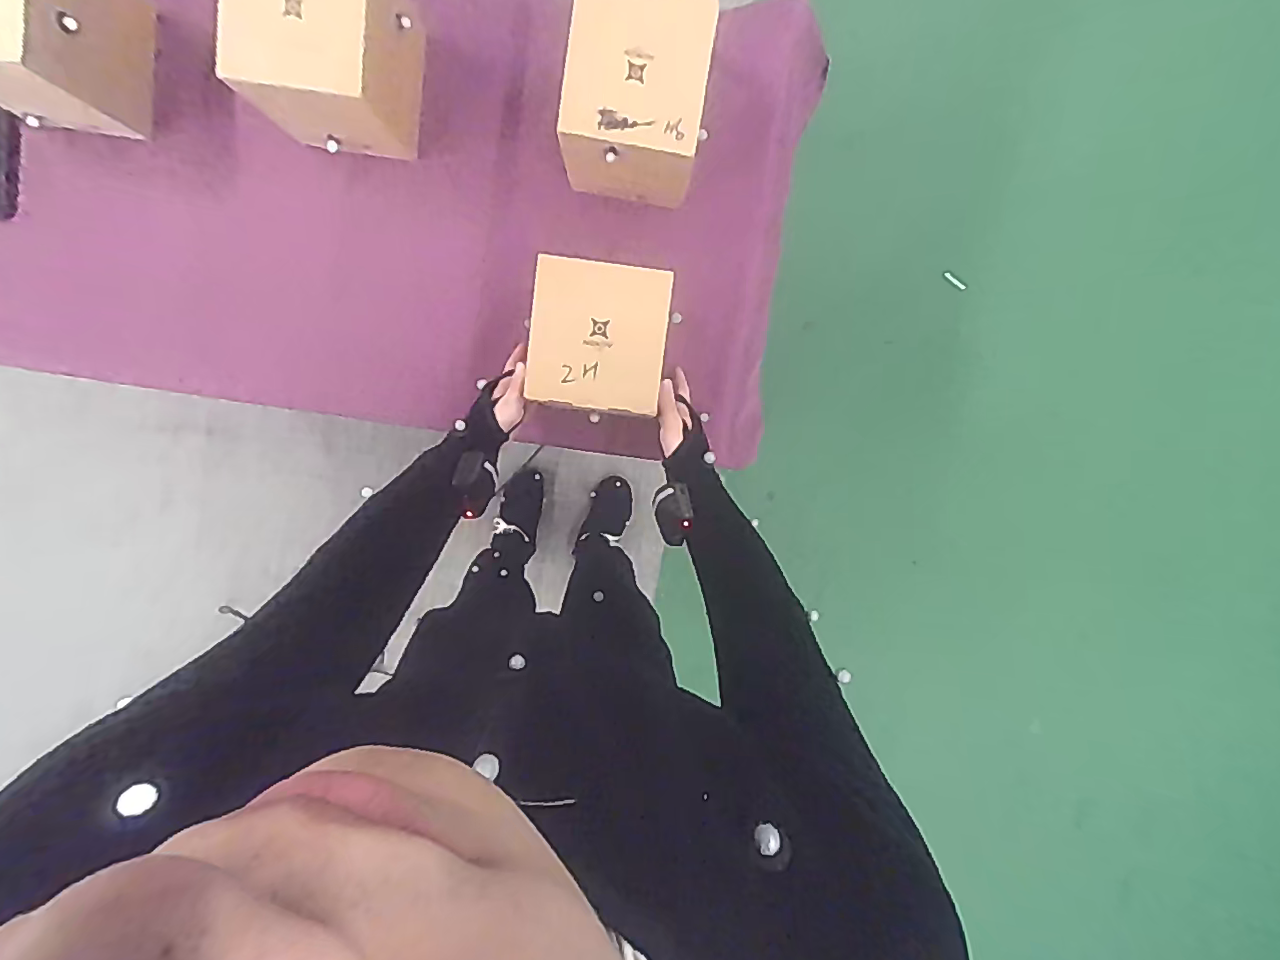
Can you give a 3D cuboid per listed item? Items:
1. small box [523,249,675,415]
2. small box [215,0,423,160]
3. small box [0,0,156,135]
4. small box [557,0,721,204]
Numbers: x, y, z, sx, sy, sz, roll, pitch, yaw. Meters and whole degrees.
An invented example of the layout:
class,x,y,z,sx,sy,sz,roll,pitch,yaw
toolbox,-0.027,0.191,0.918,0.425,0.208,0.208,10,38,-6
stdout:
class,x,y,z,sx,sy,sz,roll,pitch,yaw
small box,-0.051,-0.186,0.728,0.168,0.176,0.179,7,96,0
small box,-0.388,-0.543,0.682,0.168,0.176,0.179,7,98,-1
small box,-0.754,-0.566,0.671,0.168,0.176,0.179,7,97,-2
small box,-0.004,-0.488,0.695,0.168,0.176,0.179,9,97,-1
